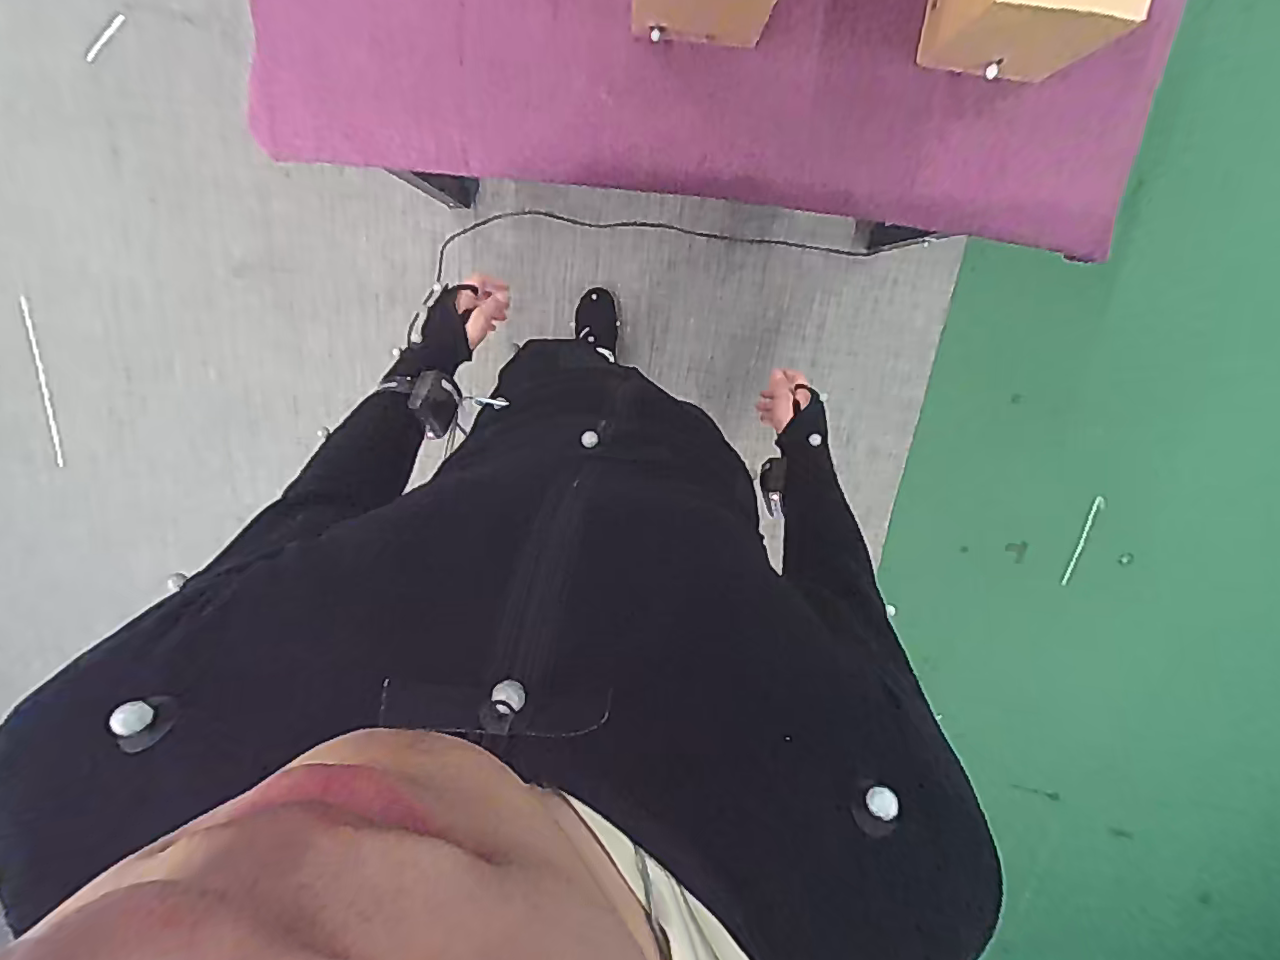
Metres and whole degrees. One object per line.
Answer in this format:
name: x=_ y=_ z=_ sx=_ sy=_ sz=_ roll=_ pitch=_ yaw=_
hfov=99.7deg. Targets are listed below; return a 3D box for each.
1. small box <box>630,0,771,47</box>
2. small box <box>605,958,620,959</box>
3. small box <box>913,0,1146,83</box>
small box: x=0.077 y=-0.633 z=0.612 sx=0.168 sy=0.176 sz=0.179 roll=3 pitch=106 yaw=-4
small box: x=-0.034 y=1.388 z=1.392 sx=0.168 sy=0.176 sz=0.179 roll=7 pitch=107 yaw=-5
small box: x=0.465 y=-0.602 z=0.639 sx=0.179 sy=0.176 sz=0.168 roll=5 pitch=107 yaw=-4
